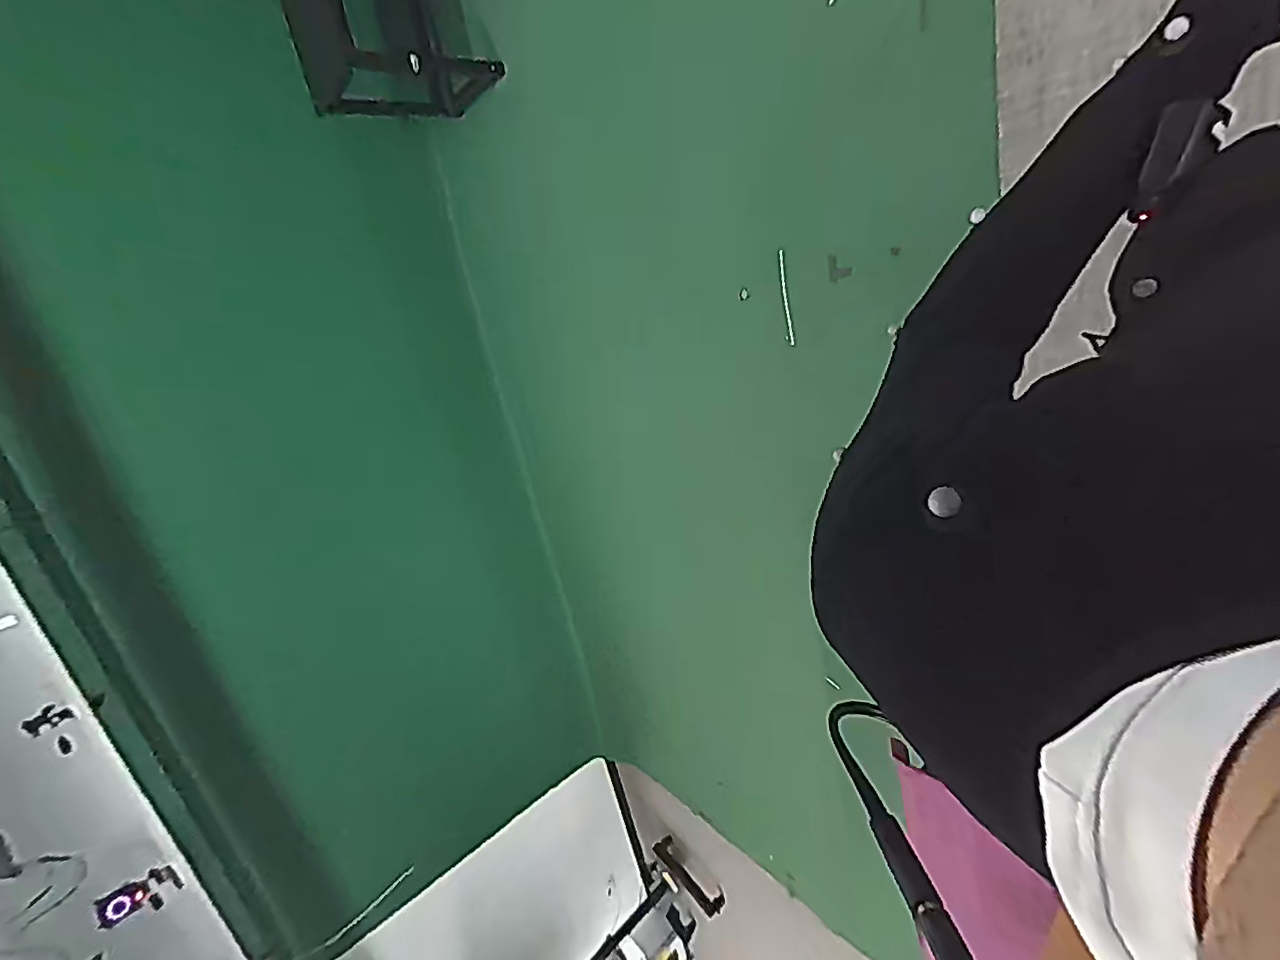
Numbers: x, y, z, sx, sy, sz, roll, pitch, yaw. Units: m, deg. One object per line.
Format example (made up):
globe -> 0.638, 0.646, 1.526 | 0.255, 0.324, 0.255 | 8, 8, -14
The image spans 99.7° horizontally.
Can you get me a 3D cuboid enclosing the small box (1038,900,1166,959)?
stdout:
small box -> 0.810, 0.900, 0.942 | 0.168, 0.176, 0.179 | 3, 114, 52
